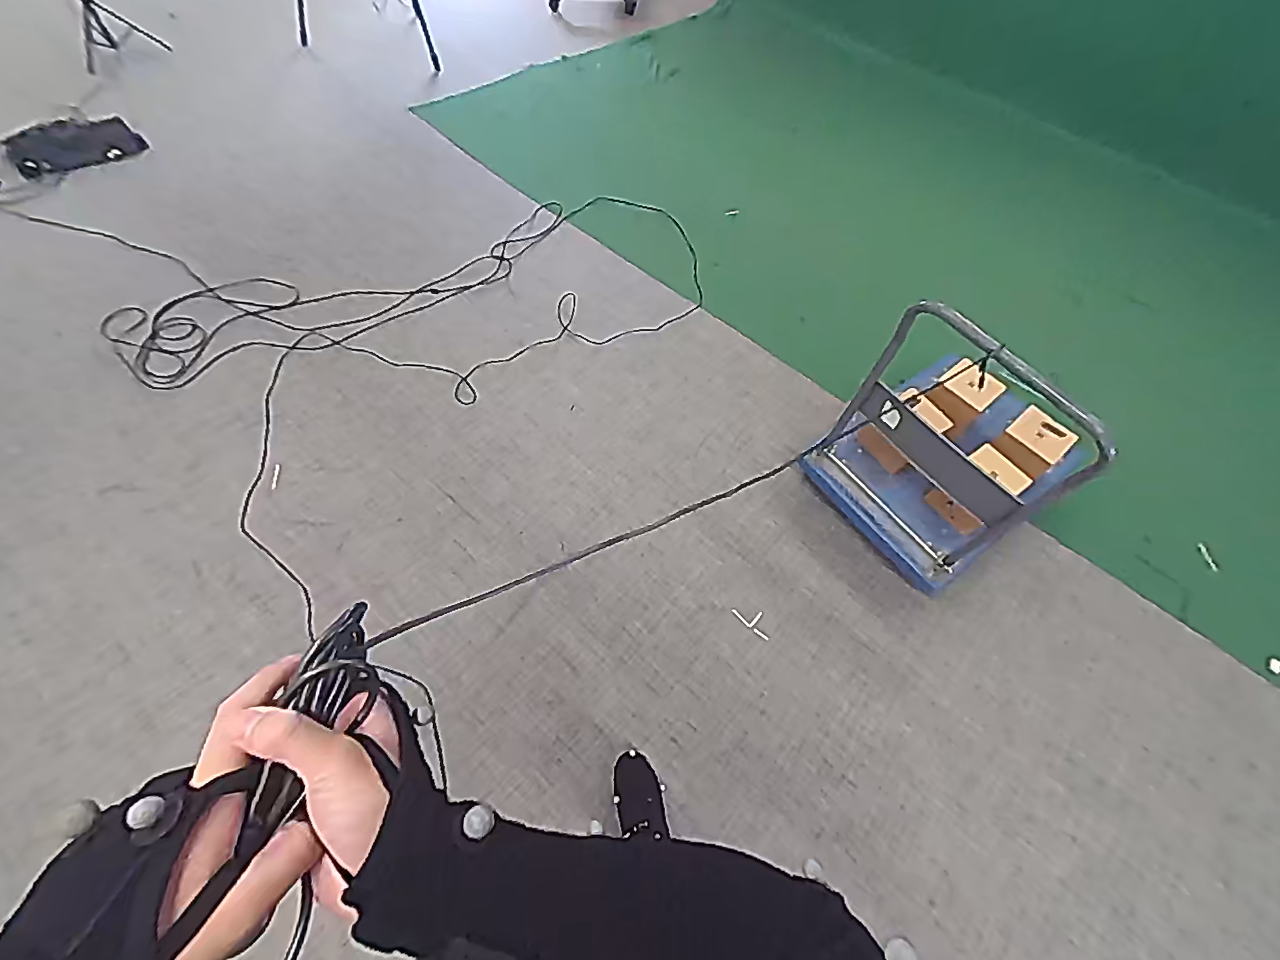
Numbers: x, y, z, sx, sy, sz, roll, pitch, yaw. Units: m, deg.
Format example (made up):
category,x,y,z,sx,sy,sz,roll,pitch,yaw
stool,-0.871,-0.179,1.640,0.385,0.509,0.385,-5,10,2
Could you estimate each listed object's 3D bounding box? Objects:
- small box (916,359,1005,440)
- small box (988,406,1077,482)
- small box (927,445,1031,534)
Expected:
category,x,y,z,sx,sy,sz,roll,pitch,yaw
small box,1.072,-0.267,1.827,0.179,0.176,0.168,-34,68,-23
small box,1.234,-0.098,1.737,0.179,0.176,0.168,-34,66,-22
small box,1.018,0.031,1.638,0.179,0.176,0.168,-30,66,-21
